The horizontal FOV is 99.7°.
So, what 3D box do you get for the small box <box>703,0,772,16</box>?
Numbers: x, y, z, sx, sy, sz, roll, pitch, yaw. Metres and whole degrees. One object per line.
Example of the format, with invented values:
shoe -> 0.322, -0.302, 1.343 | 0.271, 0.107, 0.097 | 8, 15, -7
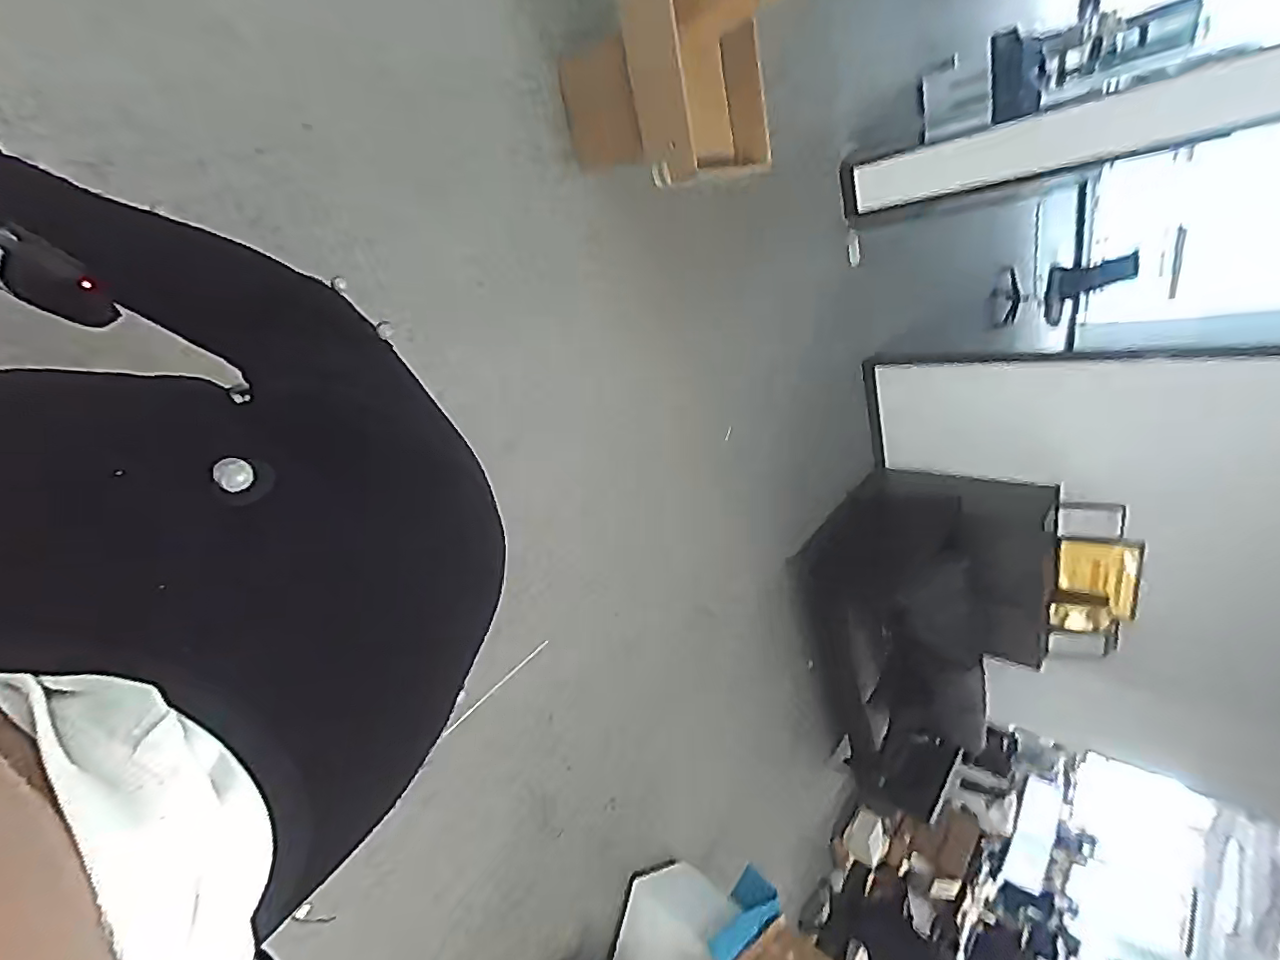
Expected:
small box -> 0.274, -1.361, 1.419 | 0.179, 0.176, 0.168 | -28, 117, -37
